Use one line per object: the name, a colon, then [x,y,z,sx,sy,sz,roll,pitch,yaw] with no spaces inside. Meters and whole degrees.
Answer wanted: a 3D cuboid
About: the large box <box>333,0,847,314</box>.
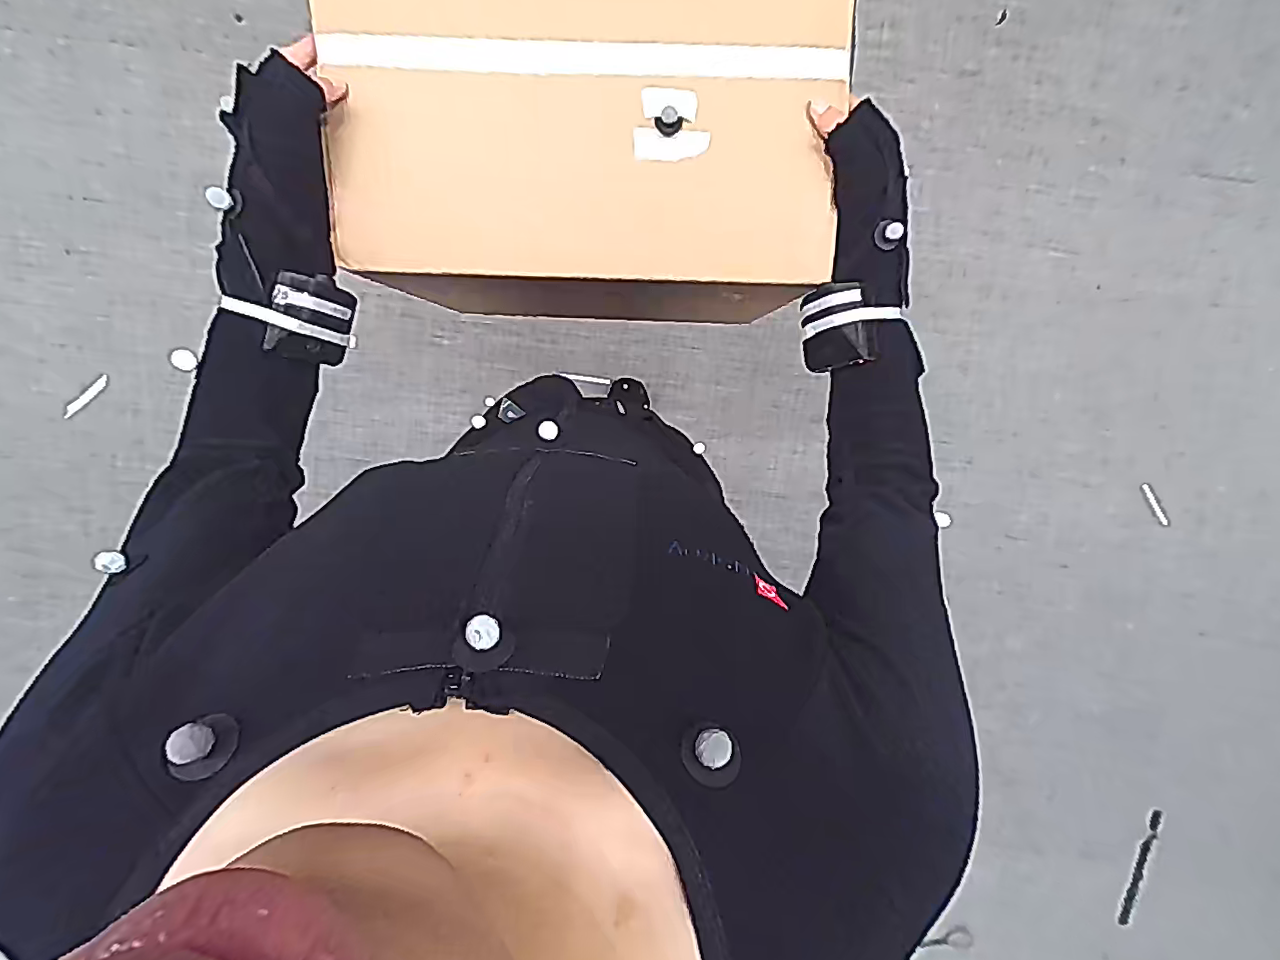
large box: [-0.042,-0.355,0.569,0.408,0.320,0.320,1,100,-1]
